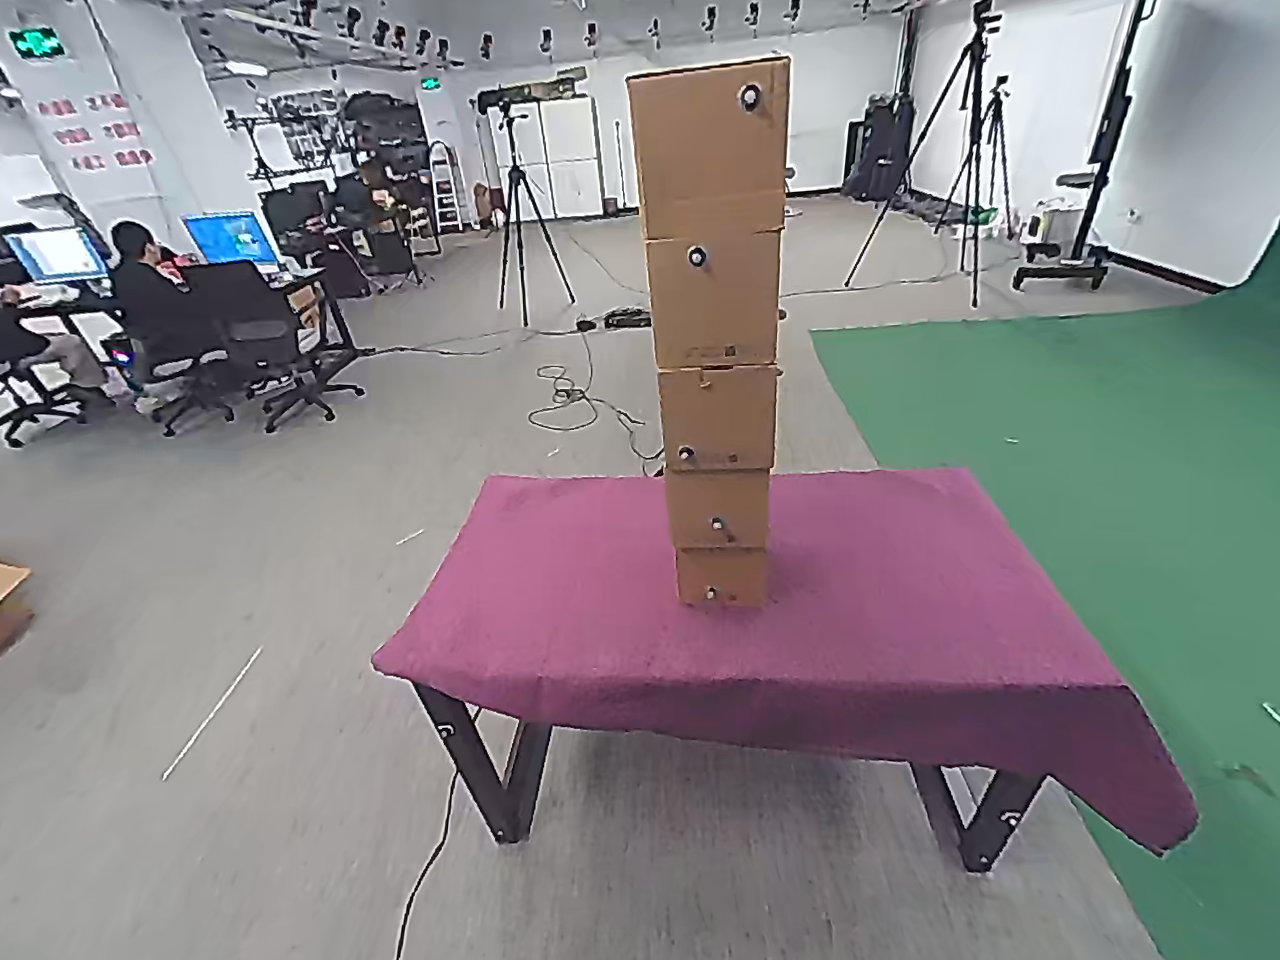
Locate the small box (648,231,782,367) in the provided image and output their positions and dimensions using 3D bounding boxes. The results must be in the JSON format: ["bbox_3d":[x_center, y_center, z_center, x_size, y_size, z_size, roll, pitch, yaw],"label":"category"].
[{"bbox_3d":[0.110,-0.269,0.770,0.168,0.176,0.179,0,33,11],"label":"small box"}]

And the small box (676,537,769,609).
[{"bbox_3d":[0.162,0.127,1.056,0.168,0.176,0.179,0,34,11],"label":"small box"}]

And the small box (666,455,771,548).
[{"bbox_3d":[0.140,0.001,0.954,0.168,0.176,0.179,-2,34,10],"label":"small box"}]

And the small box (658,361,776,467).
[{"bbox_3d":[0.127,-0.130,0.855,0.168,0.176,0.179,-1,33,10],"label":"small box"}]

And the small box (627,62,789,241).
[{"bbox_3d":[0.093,-0.404,0.680,0.179,0.176,0.168,2,35,12],"label":"small box"}]
